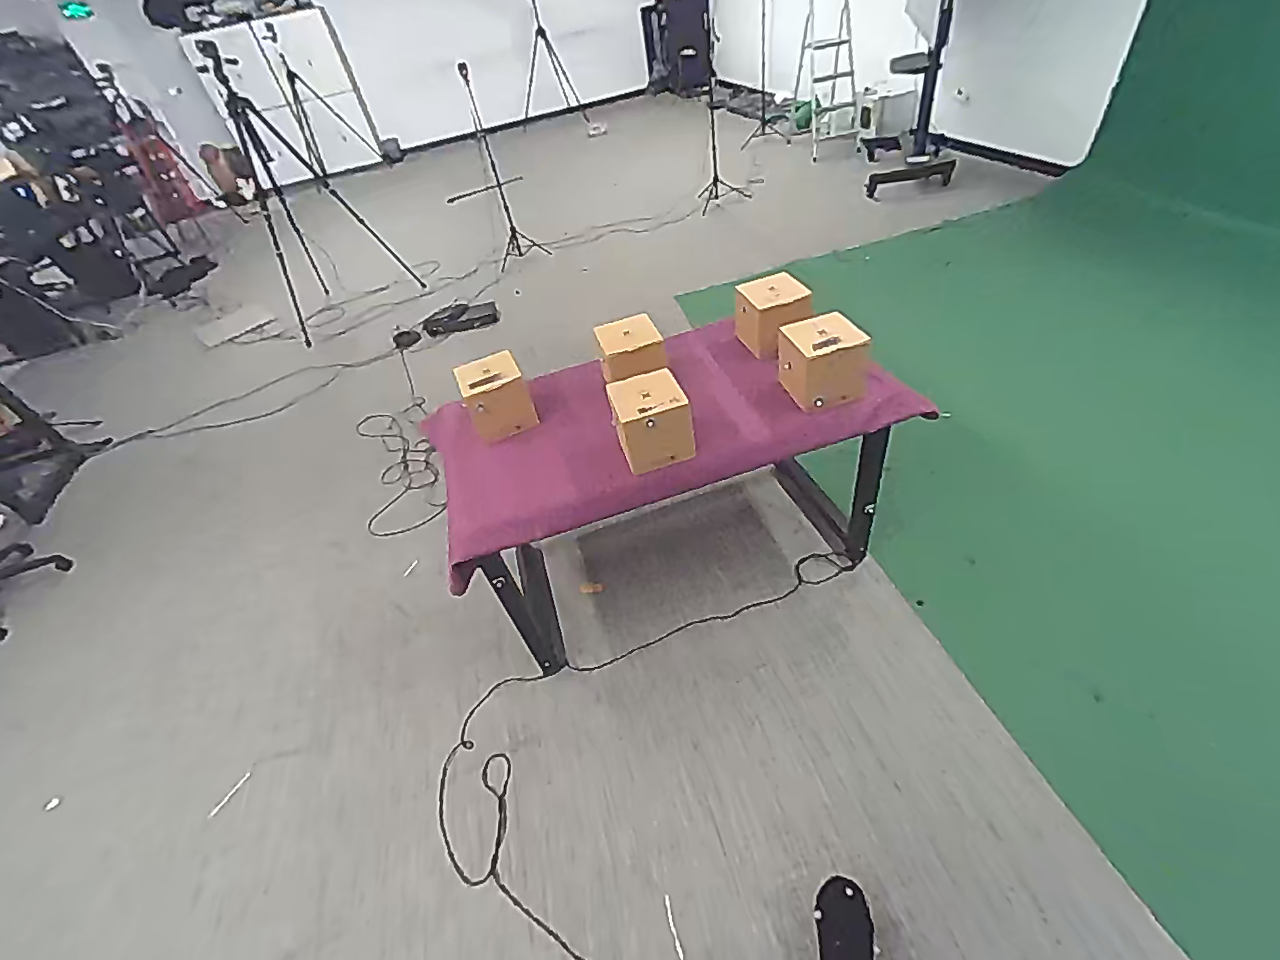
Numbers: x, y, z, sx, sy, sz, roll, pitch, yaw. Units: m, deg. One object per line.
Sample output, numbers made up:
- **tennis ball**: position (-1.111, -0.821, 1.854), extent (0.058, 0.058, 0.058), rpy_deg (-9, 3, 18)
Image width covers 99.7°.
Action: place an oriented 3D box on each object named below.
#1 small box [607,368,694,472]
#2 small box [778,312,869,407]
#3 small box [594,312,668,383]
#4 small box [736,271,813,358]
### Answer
- **small box**: position (0.027, -0.148, 1.338), extent (0.168, 0.176, 0.179), rpy_deg (-17, 42, -4)
- **small box**: position (0.469, -0.304, 1.398), extent (0.168, 0.176, 0.179), rpy_deg (-16, 42, -2)
- **small box**: position (-0.024, -0.356, 1.567), extent (0.168, 0.176, 0.179), rpy_deg (-18, 45, -6)
- **small box**: position (0.394, -0.491, 1.609), extent (0.168, 0.176, 0.179), rpy_deg (-18, 44, -4)
